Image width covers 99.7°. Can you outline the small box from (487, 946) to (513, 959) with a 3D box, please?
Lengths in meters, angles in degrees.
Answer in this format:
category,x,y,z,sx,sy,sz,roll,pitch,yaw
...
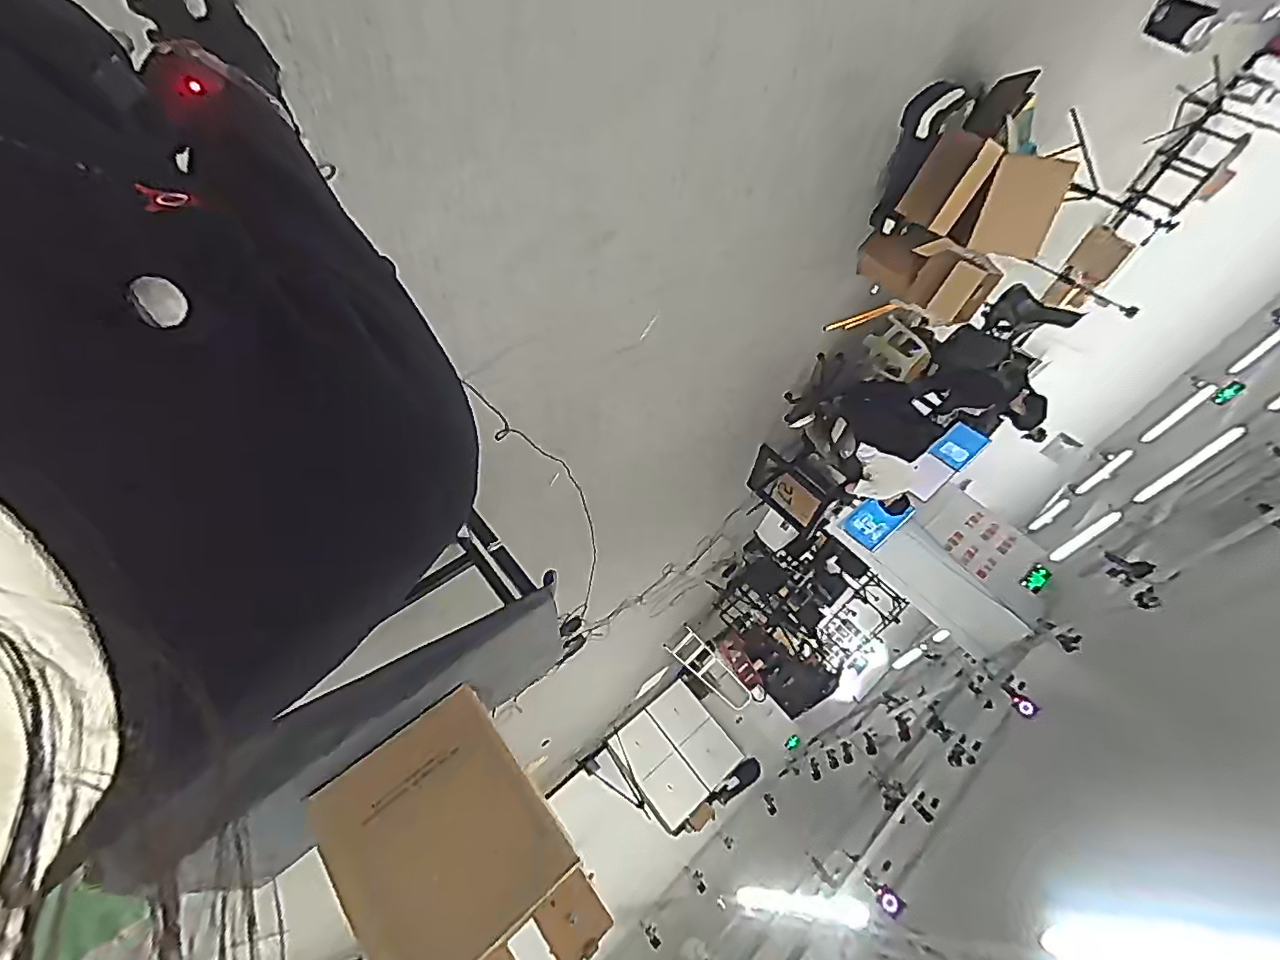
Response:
category,x,y,z,sx,sy,sz,roll,pitch,yaw
small box,-0.389,1.353,1.387,0.168,0.176,0.179,-33,152,-22

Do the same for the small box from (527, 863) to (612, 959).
category,x,y,z,sx,sy,sz,roll,pitch,yaw
small box,-0.196,1.209,1.508,0.168,0.176,0.179,-37,153,-21
